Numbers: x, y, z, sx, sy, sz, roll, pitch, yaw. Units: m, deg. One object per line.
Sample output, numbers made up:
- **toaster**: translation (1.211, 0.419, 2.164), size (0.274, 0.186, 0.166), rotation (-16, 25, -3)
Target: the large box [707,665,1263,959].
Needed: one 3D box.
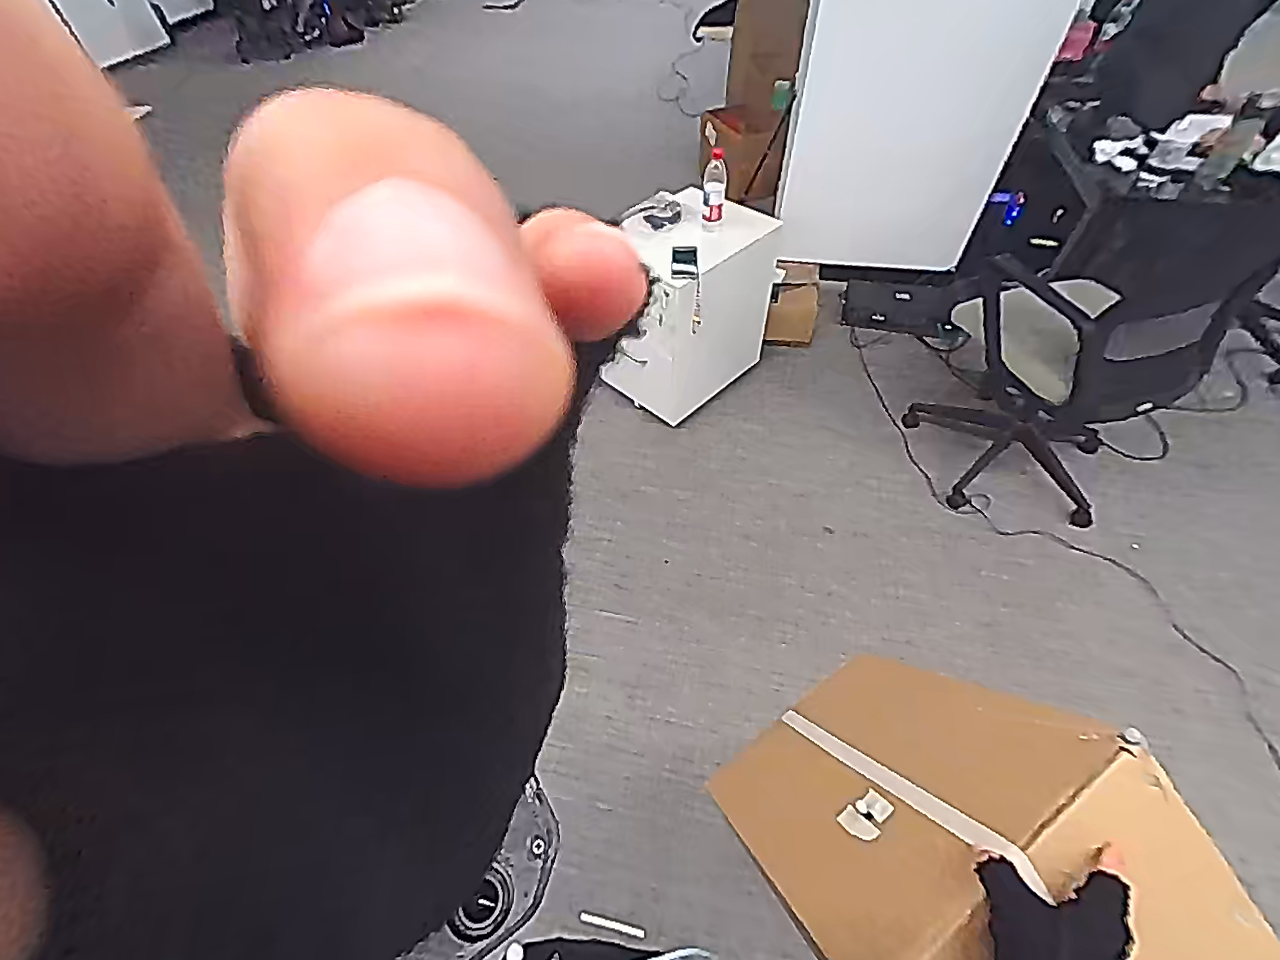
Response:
- **large box**: translation (0.334, 0.463, 0.608), size (0.320, 0.408, 0.320), rotation (-33, 90, -13)
